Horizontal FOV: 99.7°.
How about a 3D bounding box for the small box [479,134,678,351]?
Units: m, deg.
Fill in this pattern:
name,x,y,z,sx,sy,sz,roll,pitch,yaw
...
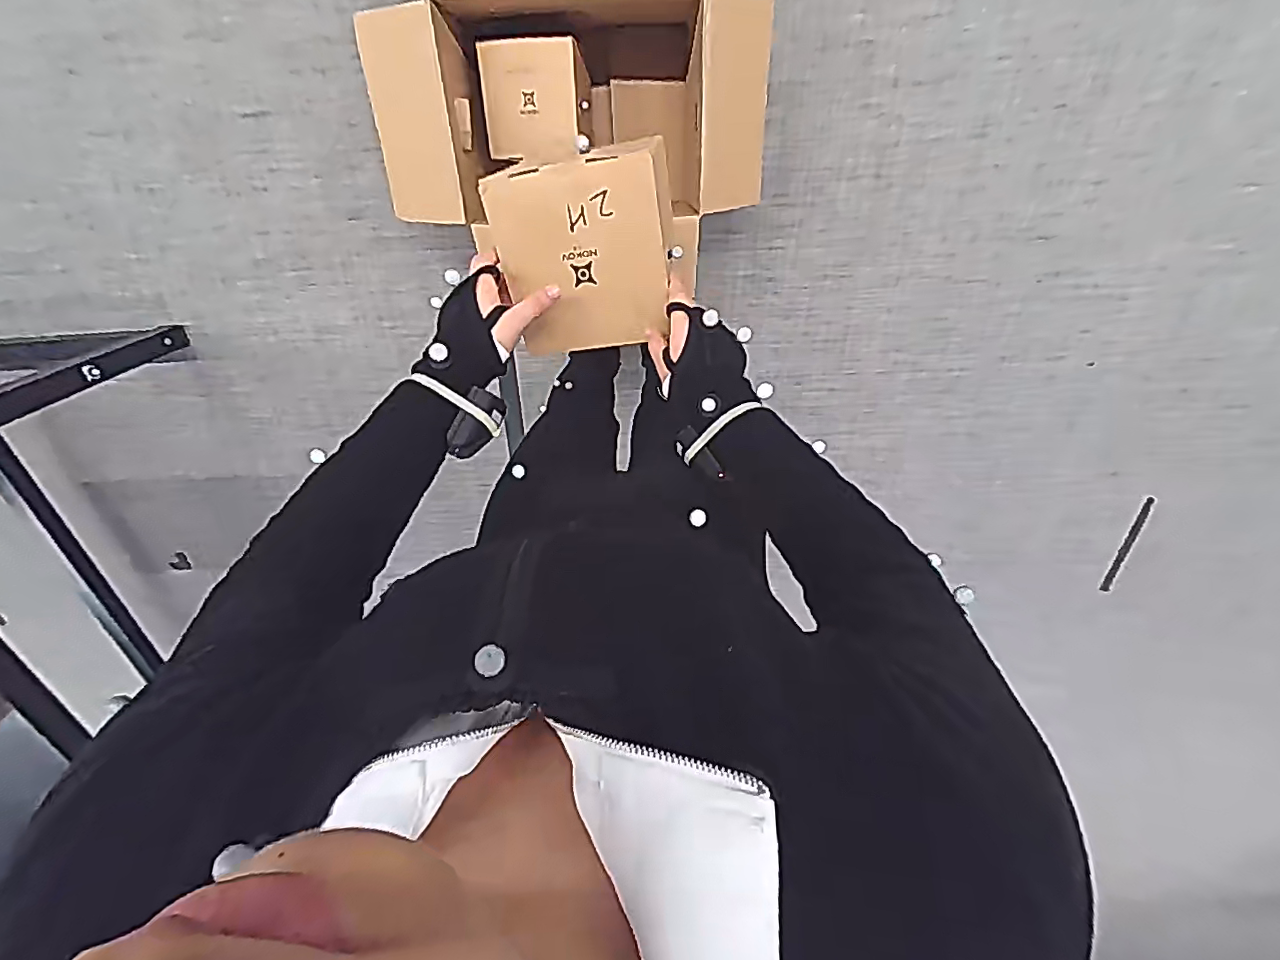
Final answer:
name,x,y,z,sx,sy,sz,roll,pitch,yaw
small box,-0.050,-0.263,0.598,0.168,0.176,0.179,-4,126,9
